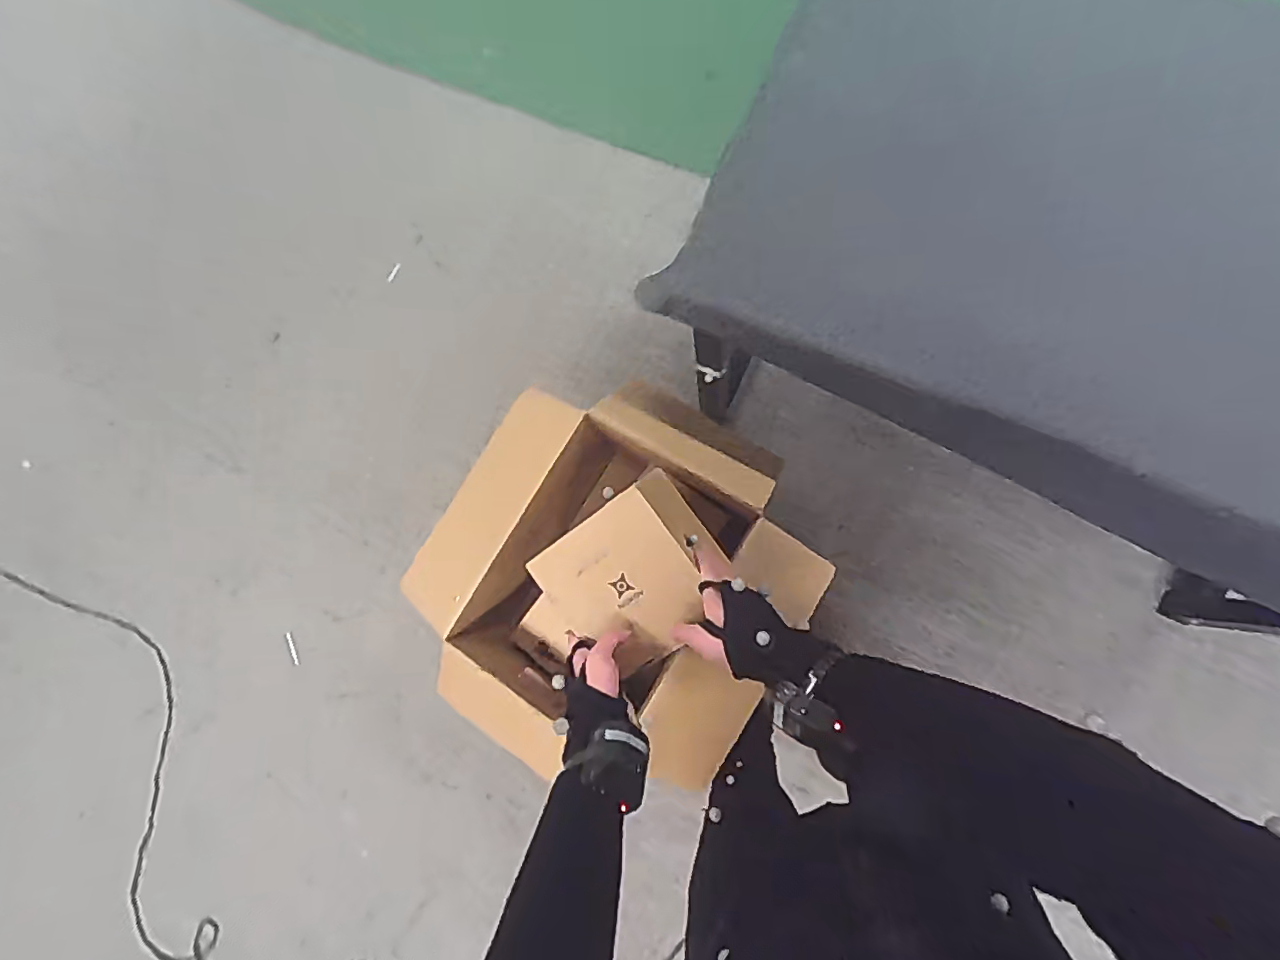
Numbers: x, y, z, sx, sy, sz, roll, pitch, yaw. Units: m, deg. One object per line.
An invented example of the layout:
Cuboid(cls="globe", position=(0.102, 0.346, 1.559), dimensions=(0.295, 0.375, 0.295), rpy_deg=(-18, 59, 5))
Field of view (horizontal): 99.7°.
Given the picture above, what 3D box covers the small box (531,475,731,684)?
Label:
Cuboid(cls="small box", position=(0.002, 0.112, 0.680), dimensions=(0.168, 0.176, 0.179), rpy_deg=(-36, 89, 14))
